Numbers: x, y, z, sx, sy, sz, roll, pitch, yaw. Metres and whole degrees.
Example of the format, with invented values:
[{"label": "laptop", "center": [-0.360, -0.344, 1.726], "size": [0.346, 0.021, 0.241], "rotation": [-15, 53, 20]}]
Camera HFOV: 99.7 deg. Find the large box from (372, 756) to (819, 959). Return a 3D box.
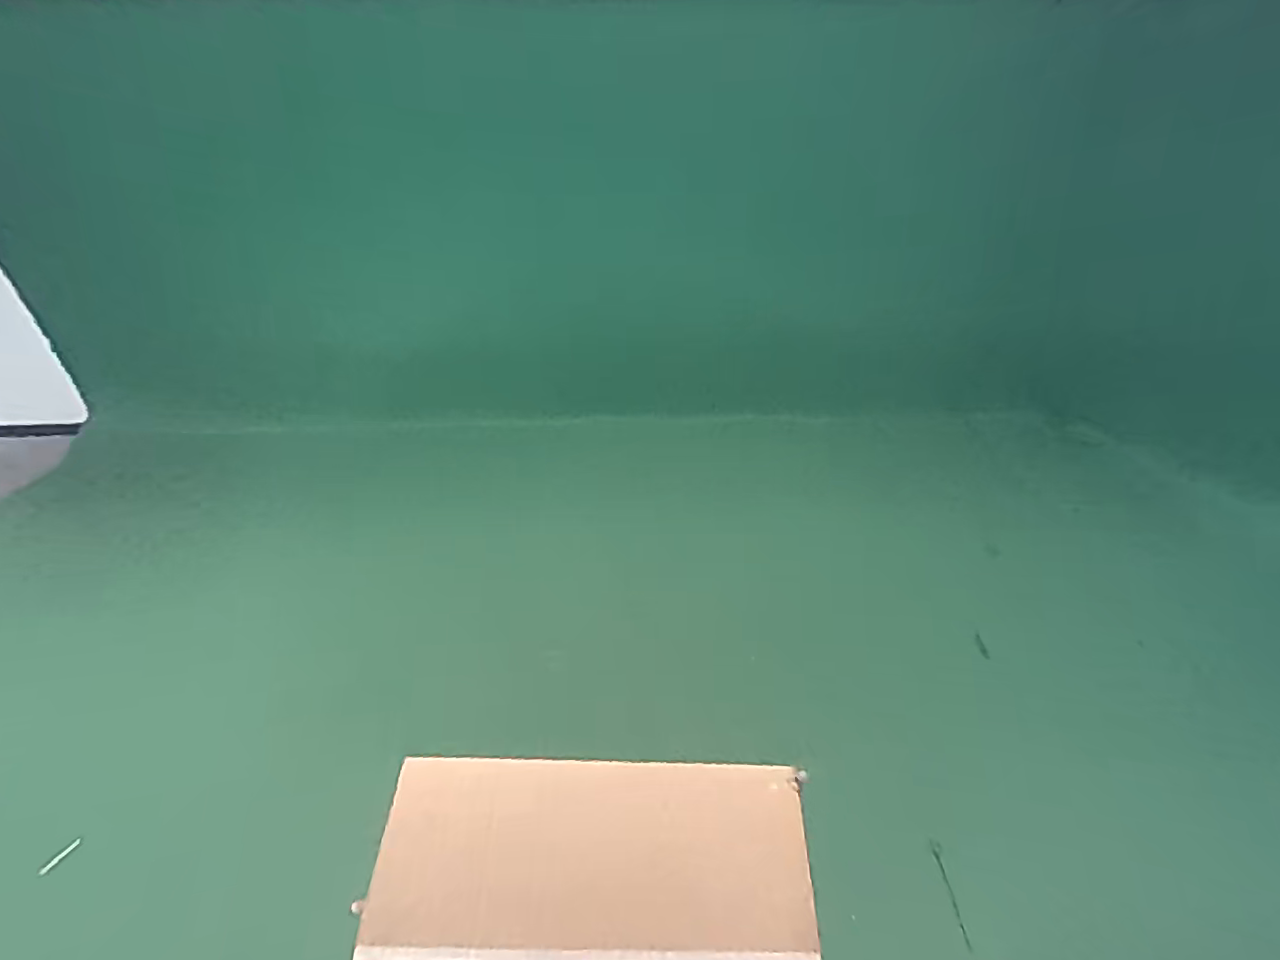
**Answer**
[{"label": "large box", "center": [-0.044, 0.509, 0.599], "size": [0.408, 0.320, 0.320], "rotation": [1, 53, -1]}]
